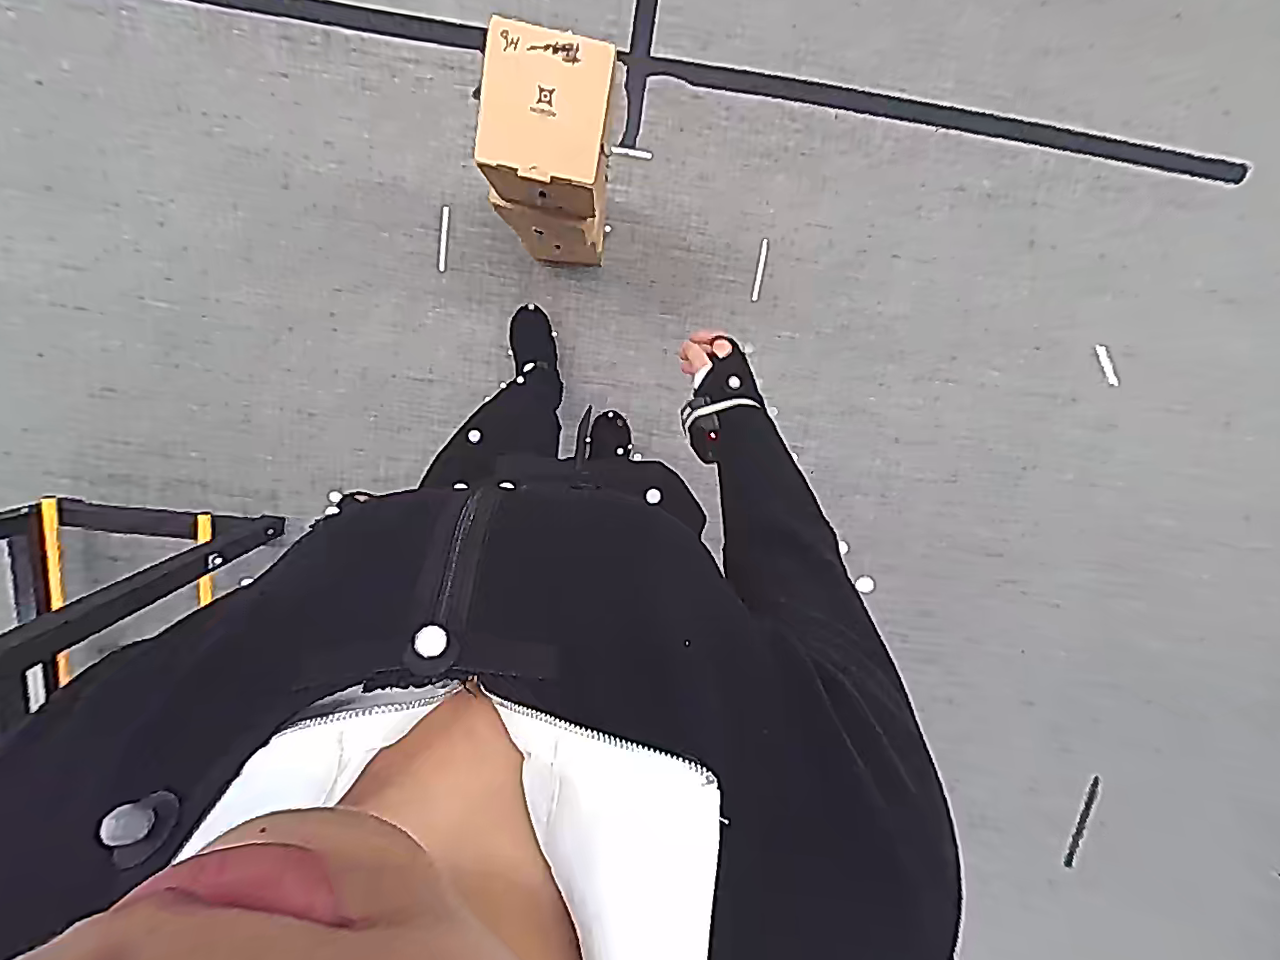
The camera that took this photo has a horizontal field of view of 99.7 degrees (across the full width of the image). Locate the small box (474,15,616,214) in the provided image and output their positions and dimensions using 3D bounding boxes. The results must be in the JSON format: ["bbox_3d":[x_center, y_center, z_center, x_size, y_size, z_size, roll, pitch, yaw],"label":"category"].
[{"bbox_3d":[-0.128,-0.509,0.785,0.168,0.176,0.179,10,102,-5],"label":"small box"}]

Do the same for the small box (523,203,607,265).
[{"bbox_3d":[-0.170,-0.608,1.265,0.179,0.176,0.168,4,102,-5],"label":"small box"}]

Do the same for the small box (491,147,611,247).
[{"bbox_3d":[-0.148,-0.531,0.948,0.168,0.176,0.179,13,102,-5],"label":"small box"}]

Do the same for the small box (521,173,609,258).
[{"bbox_3d":[-0.155,-0.573,1.105,0.168,0.176,0.179,8,102,-5],"label":"small box"}]
